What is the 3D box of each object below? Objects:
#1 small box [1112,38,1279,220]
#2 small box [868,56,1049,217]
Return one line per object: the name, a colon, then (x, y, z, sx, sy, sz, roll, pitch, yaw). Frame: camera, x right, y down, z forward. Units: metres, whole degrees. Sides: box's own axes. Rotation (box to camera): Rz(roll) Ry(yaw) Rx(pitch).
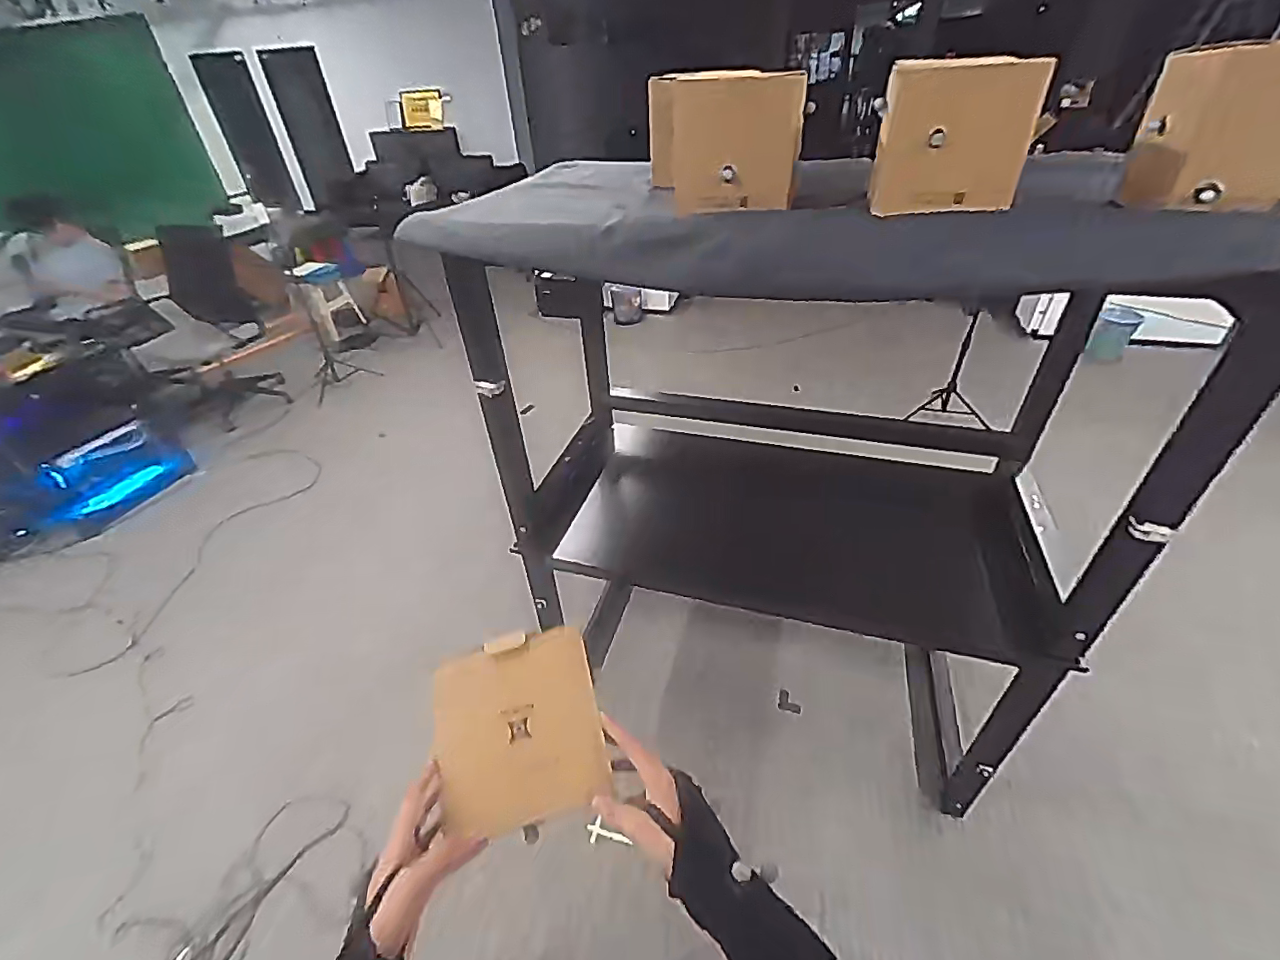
small box: (0.709, -0.408, 0.635, 0.168, 0.176, 0.179, 10, 35, 18)
small box: (0.417, -0.466, 0.742, 0.168, 0.176, 0.179, 8, 36, 16)
